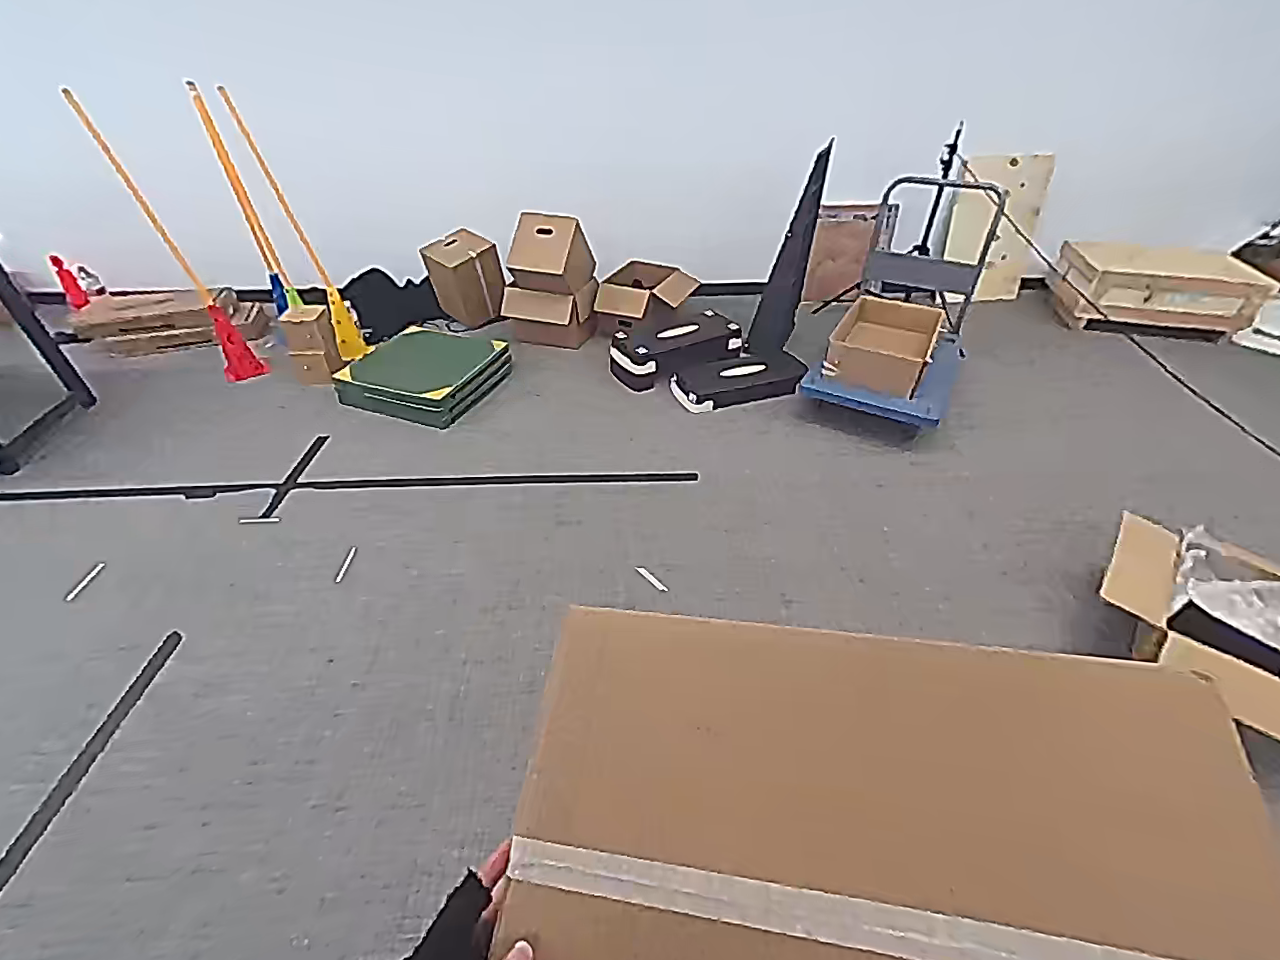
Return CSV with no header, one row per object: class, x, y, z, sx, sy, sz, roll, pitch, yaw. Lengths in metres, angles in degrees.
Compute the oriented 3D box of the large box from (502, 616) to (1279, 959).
large box,0.142,0.317,0.421,0.408,0.320,0.320,3,60,12
